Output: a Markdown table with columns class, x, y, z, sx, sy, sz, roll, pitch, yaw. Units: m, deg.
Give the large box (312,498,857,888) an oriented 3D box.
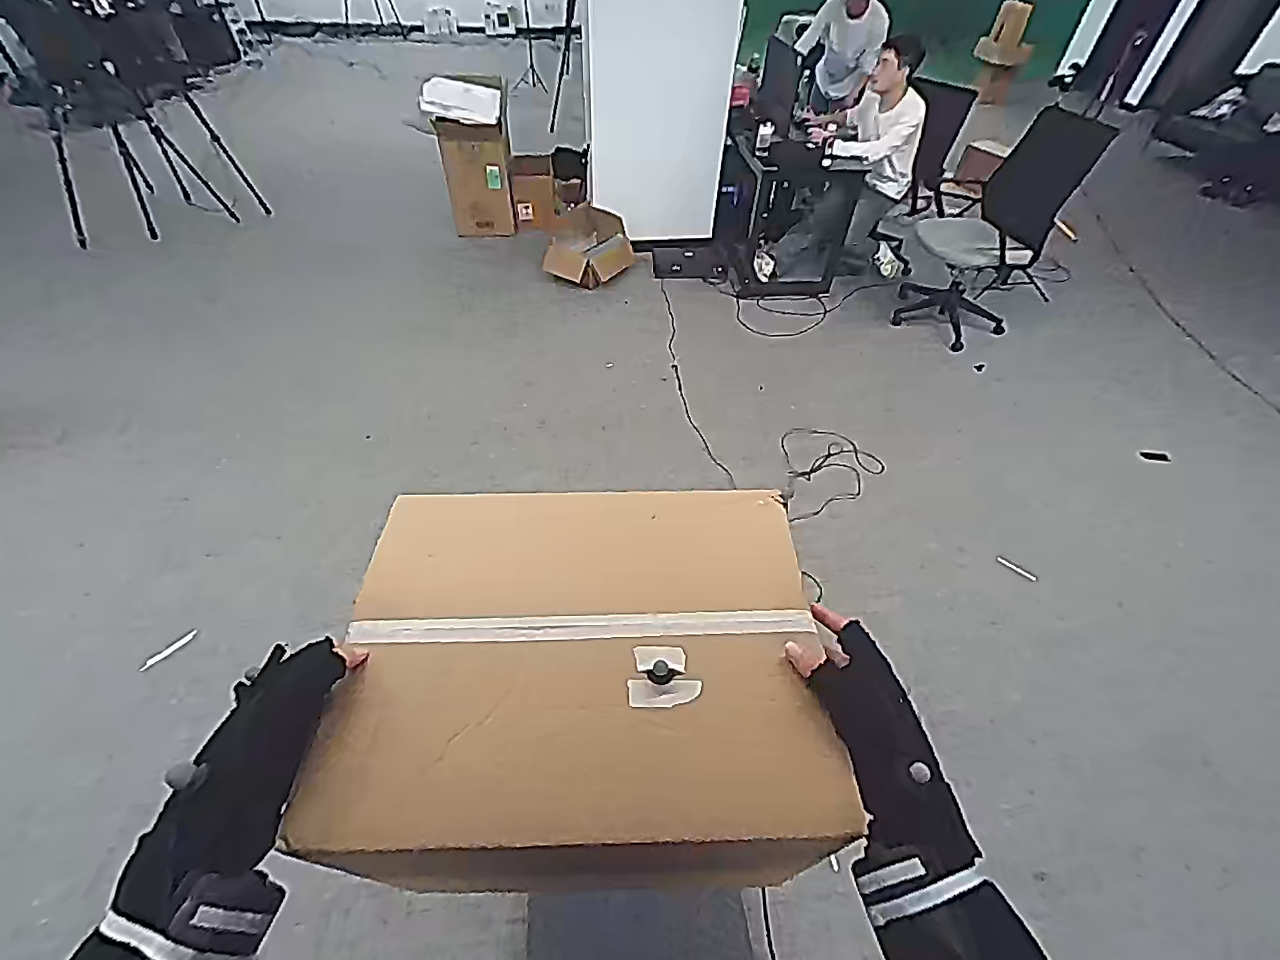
| class | x | y | z | sx | sy | sz | roll | pitch | yaw |
| --- | --- | --- | --- | --- | --- | --- | --- | --- | --- |
| large box | -0.044 | 0.235 | 0.597 | 0.408 | 0.320 | 0.320 | 0 | 48 | -1 |
